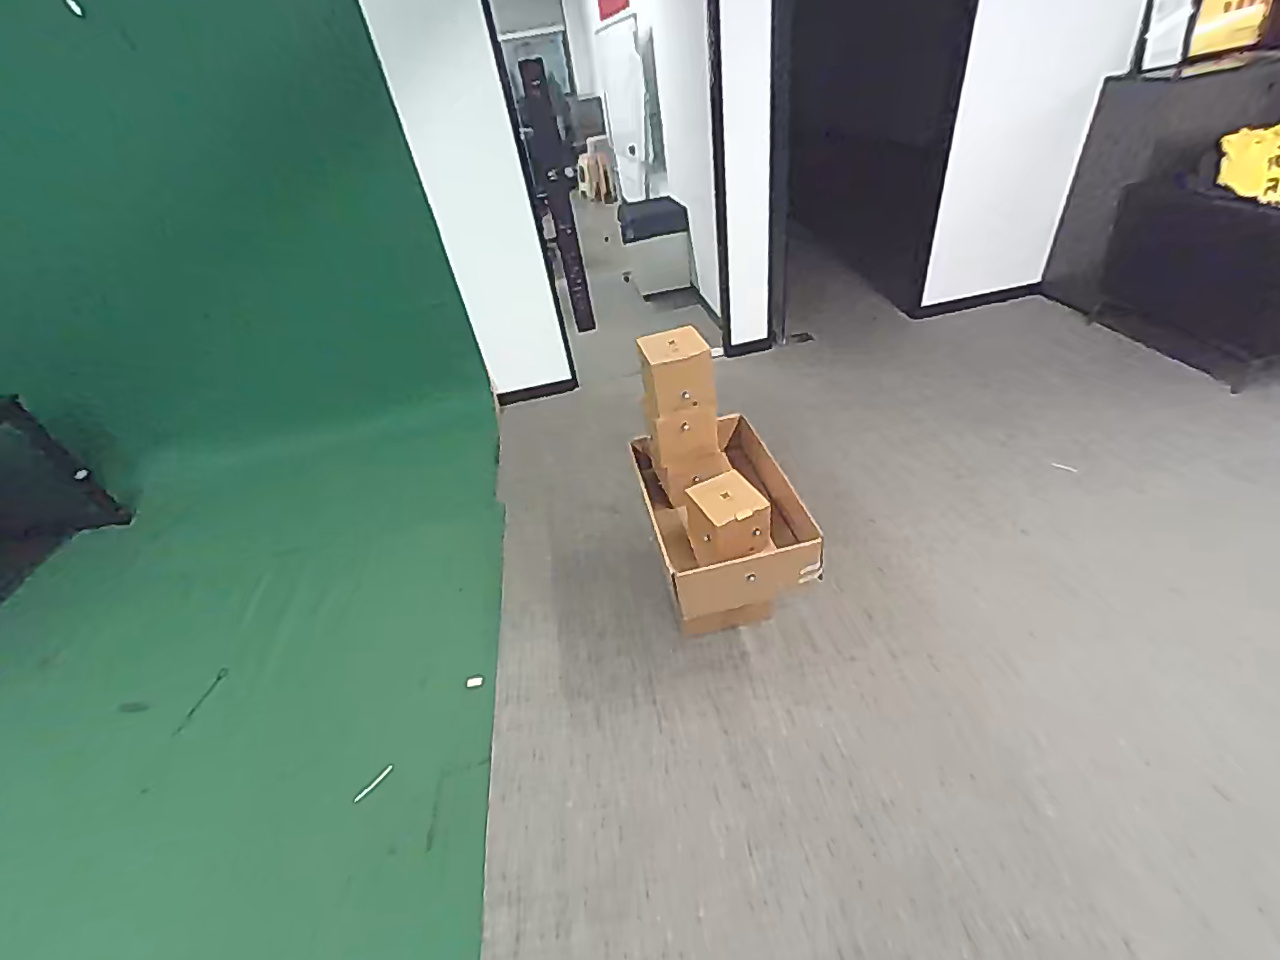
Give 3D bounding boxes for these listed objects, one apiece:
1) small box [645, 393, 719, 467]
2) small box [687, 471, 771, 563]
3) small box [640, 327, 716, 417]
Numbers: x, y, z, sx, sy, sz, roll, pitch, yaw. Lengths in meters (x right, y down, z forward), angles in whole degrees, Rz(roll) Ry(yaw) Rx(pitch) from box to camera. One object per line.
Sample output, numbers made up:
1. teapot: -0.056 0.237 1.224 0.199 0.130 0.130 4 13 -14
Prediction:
1. small box: 0.126 -0.166 1.598 0.179 0.176 0.168 -17 39 -6
2. small box: 0.247 0.108 1.498 0.168 0.176 0.179 -21 39 -14
3. small box: 0.107 -0.300 1.503 0.168 0.176 0.179 -15 40 -4
